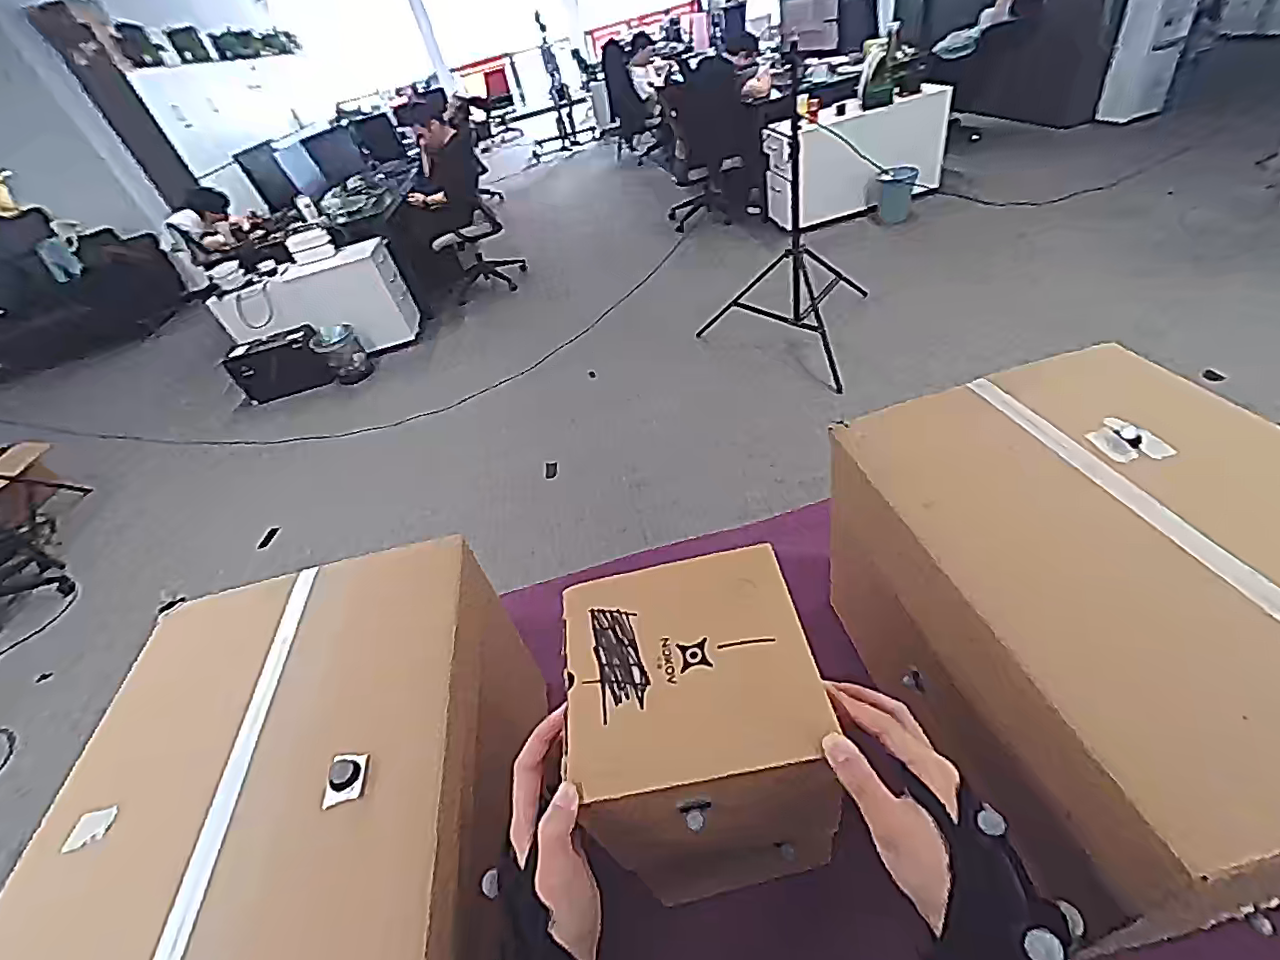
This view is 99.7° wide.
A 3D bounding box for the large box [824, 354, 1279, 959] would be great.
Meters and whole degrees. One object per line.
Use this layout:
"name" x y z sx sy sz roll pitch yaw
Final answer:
"large box" 0.408 0.140 0.507 0.320 0.320 0.408 -16 39 -1
